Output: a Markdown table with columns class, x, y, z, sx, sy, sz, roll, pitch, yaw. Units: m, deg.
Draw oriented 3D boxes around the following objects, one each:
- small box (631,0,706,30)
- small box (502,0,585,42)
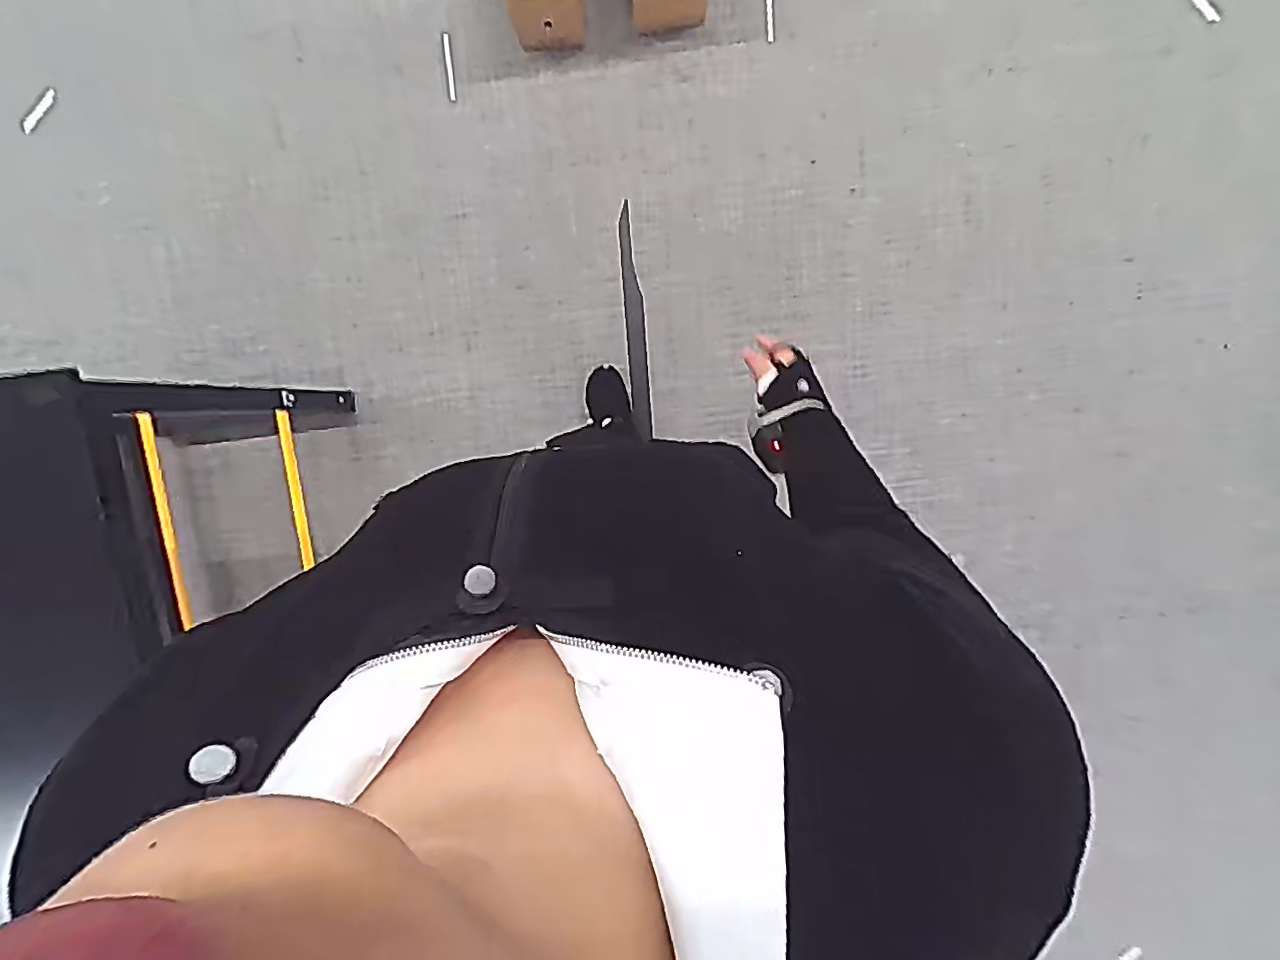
| class | x | y | z | sx | sy | sz | roll | pitch | yaw |
| --- | --- | --- | --- | --- | --- | --- | --- | --- | --- |
| small box | 0.063 | -1.181 | 1.237 | 0.179 | 0.176 | 0.168 | -6 | 97 | 2 |
| small box | -0.223 | -1.152 | 1.248 | 0.168 | 0.176 | 0.179 | -3 | 98 | 2 |
